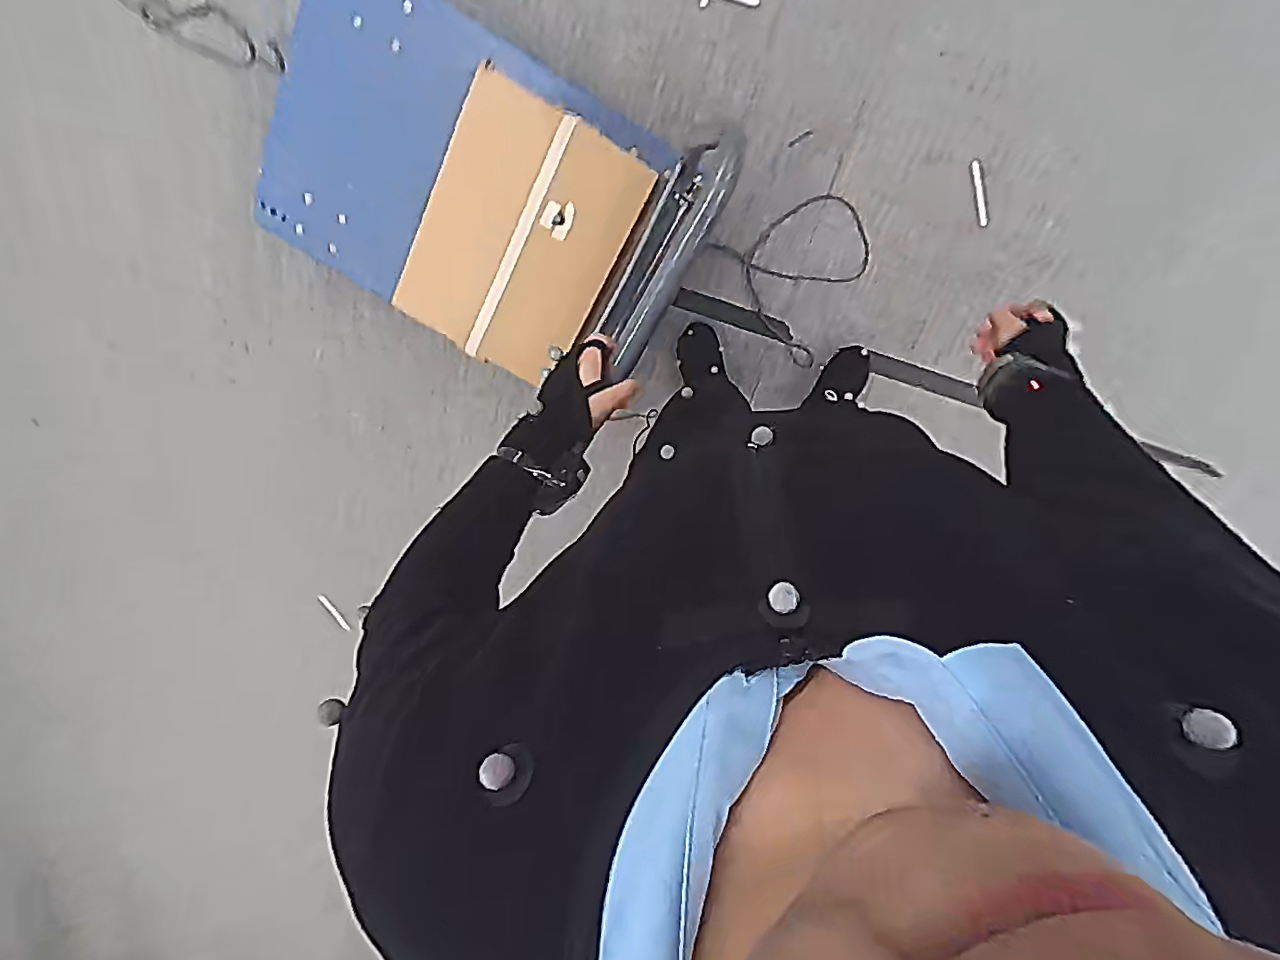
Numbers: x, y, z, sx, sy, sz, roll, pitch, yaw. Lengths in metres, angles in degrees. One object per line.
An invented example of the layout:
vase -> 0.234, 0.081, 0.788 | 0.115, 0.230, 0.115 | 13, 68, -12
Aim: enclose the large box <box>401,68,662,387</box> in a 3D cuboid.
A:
large box -> -0.189, -0.448, 1.044 | 0.320, 0.320, 0.408 | 29, 110, -8
